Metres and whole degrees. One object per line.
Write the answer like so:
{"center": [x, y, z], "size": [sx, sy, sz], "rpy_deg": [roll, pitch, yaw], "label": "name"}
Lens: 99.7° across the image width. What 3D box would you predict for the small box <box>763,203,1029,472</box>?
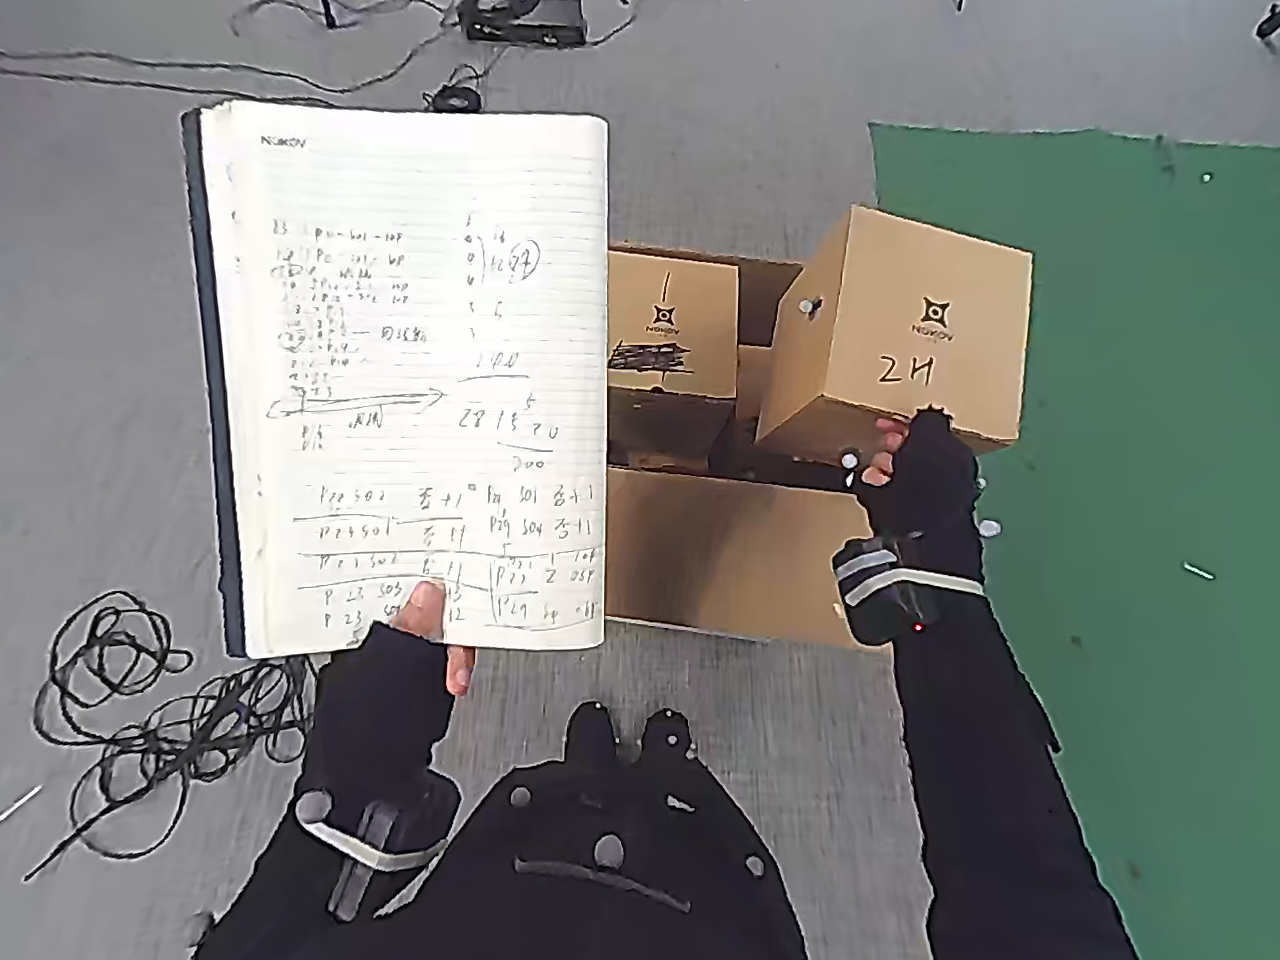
{"center": [0.231, -0.120, 0.524], "size": [0.168, 0.176, 0.179], "rpy_deg": [13, 79, -3], "label": "small box"}
